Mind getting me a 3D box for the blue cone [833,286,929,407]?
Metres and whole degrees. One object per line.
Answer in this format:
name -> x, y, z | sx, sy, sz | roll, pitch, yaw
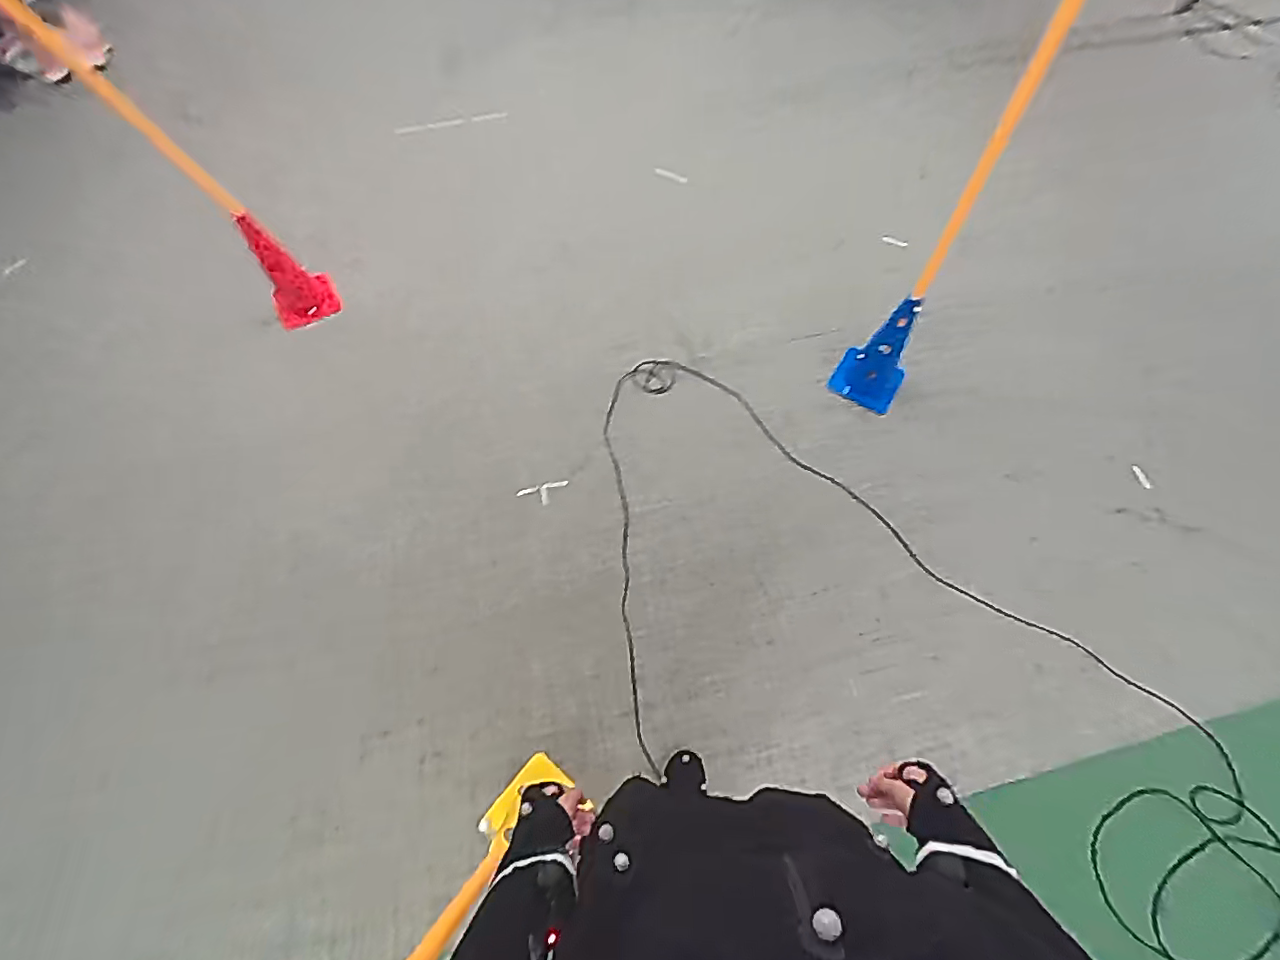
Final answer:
blue cone -> 0.710, -0.401, 1.540 | 0.192, 0.380, 0.193 | 28, 67, 14
